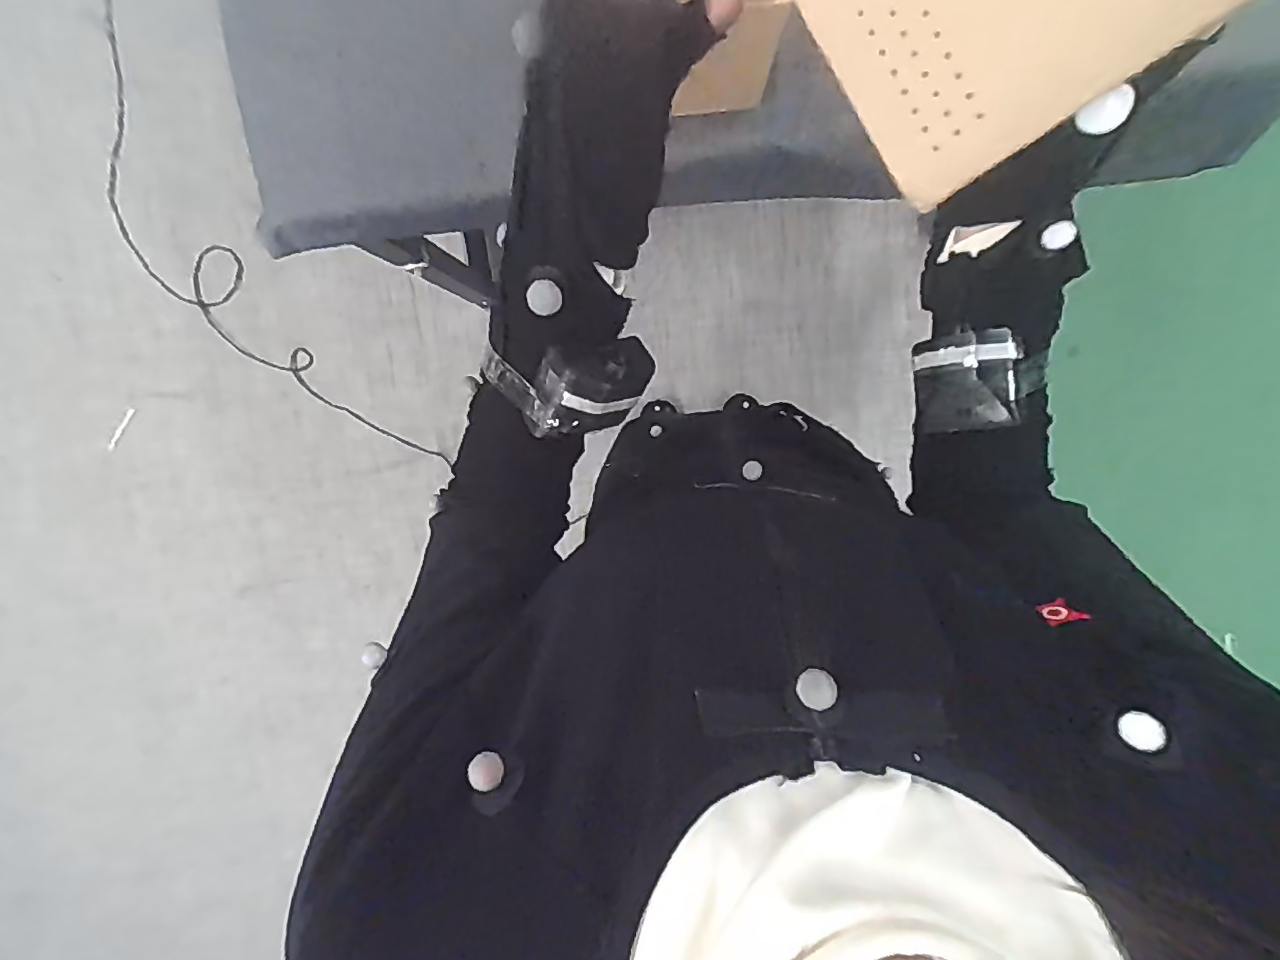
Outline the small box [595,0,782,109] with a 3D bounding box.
[{"bbox_3d":[0.046,-0.507,0.546,0.179,0.176,0.168,-3,97,4],"label":"small box"}]
